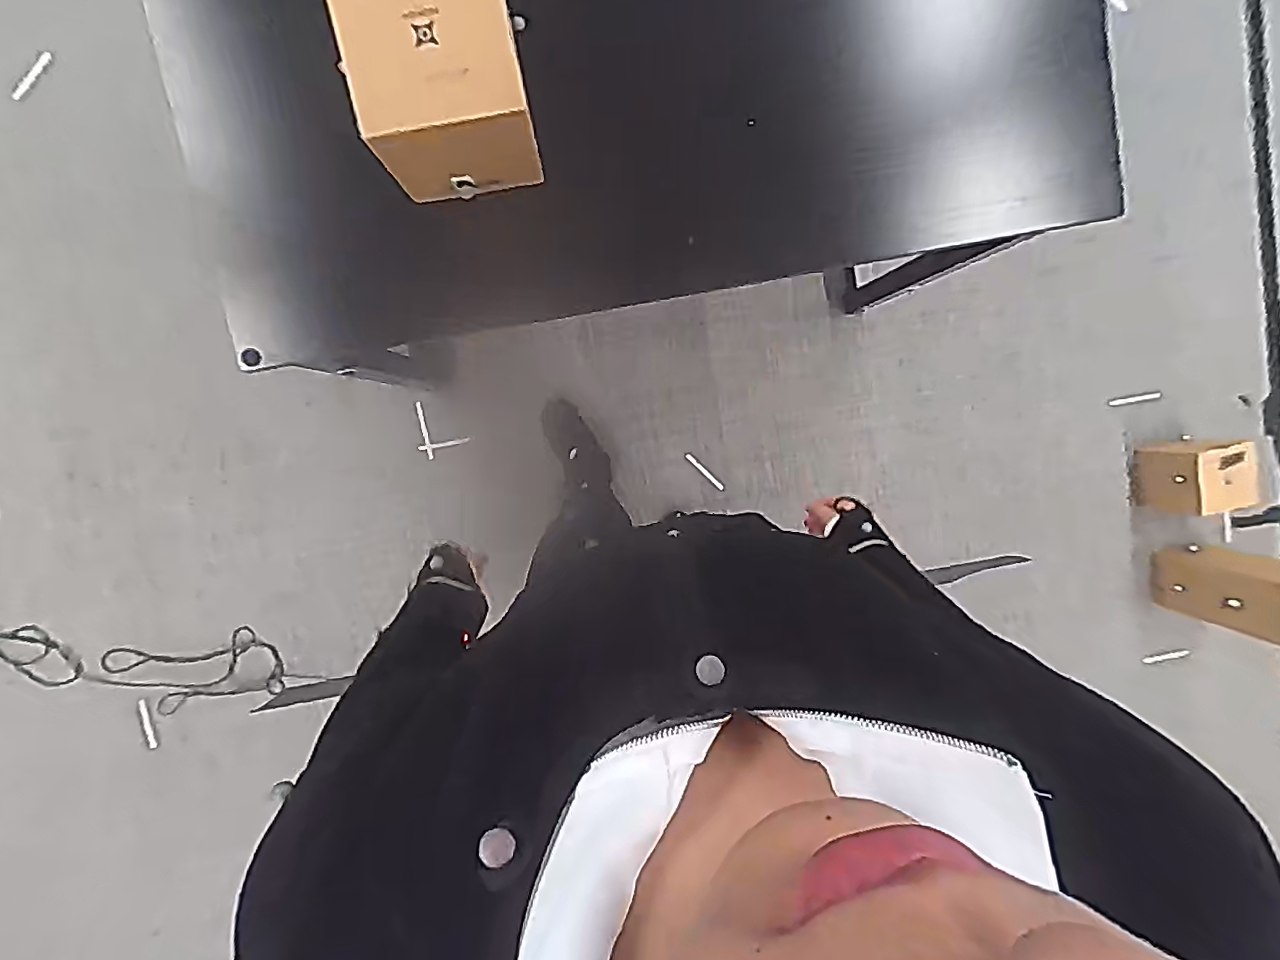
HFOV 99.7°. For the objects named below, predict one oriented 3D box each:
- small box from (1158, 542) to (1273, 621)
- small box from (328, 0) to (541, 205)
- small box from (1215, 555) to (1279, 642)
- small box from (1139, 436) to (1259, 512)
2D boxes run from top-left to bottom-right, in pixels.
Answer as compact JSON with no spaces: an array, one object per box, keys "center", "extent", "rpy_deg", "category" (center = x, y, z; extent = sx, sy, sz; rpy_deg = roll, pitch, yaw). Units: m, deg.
[{"center":[1.634,0.284,1.543],"extent":[0.179,0.176,0.168],"rpy_deg":[-11,96,-2],"category":"small box"},{"center":[-0.216,-0.442,0.604],"extent":[0.168,0.176,0.179],"rpy_deg":[-13,97,-2],"category":"small box"},{"center":[1.639,0.299,1.377],"extent":[0.179,0.176,0.168],"rpy_deg":[-9,96,-3],"category":"small box"},{"center":[1.542,-0.021,1.503],"extent":[0.168,0.176,0.179],"rpy_deg":[-12,97,-3],"category":"small box"}]
